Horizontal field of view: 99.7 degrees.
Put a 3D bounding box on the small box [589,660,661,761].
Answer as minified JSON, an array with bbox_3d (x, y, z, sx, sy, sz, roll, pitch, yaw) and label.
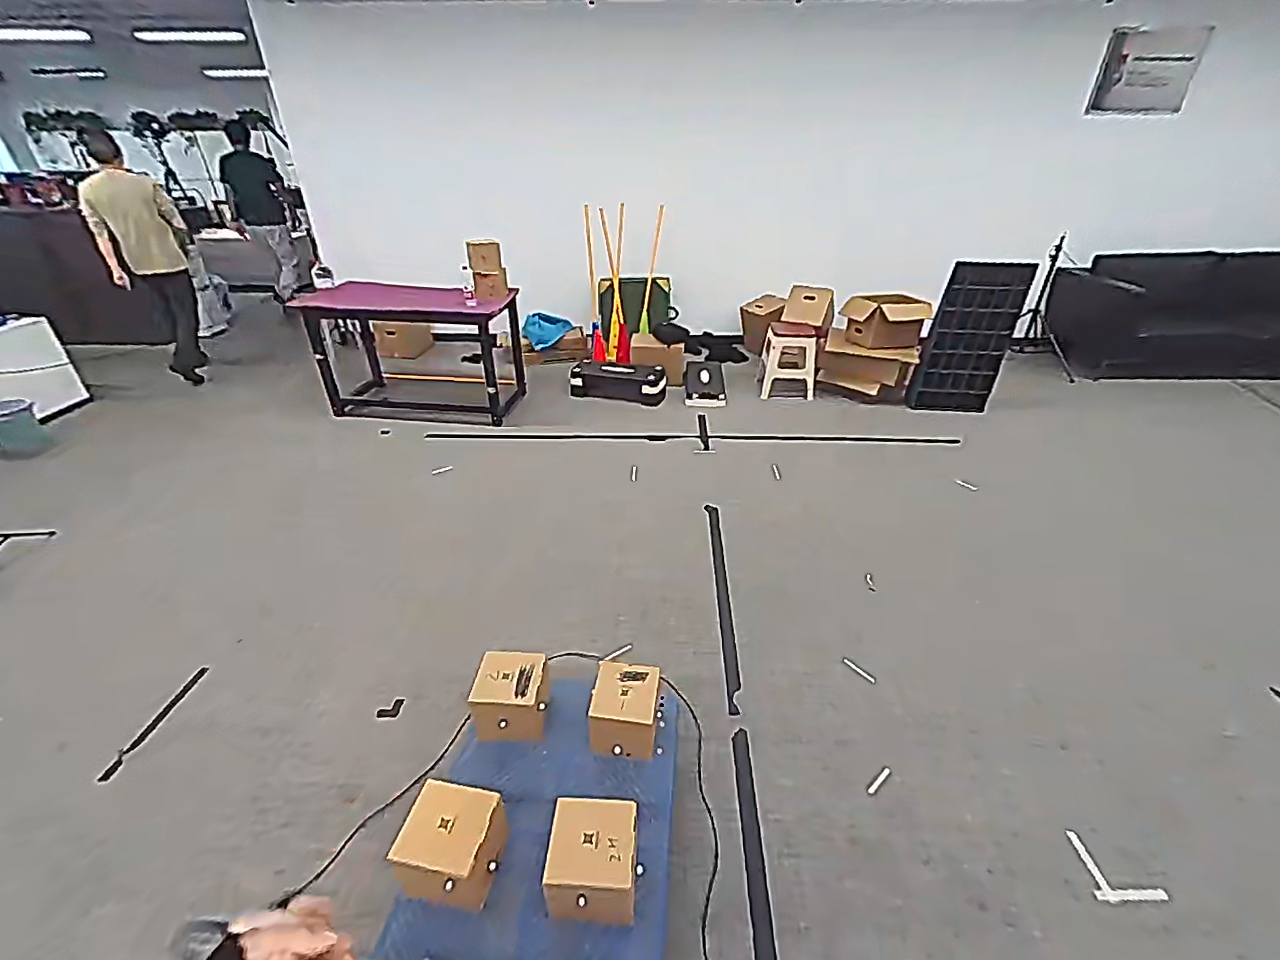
[{"bbox_3d":[-0.038,0.617,1.455,0.168,0.176,0.179,5,33,7],"label":"small box"}]

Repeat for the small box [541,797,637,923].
[{"bbox_3d":[-0.099,0.805,1.147,0.179,0.176,0.168,2,32,3],"label":"small box"}]

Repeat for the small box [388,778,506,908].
[{"bbox_3d":[-0.407,0.786,1.172,0.179,0.176,0.168,7,32,7],"label":"small box"}]
